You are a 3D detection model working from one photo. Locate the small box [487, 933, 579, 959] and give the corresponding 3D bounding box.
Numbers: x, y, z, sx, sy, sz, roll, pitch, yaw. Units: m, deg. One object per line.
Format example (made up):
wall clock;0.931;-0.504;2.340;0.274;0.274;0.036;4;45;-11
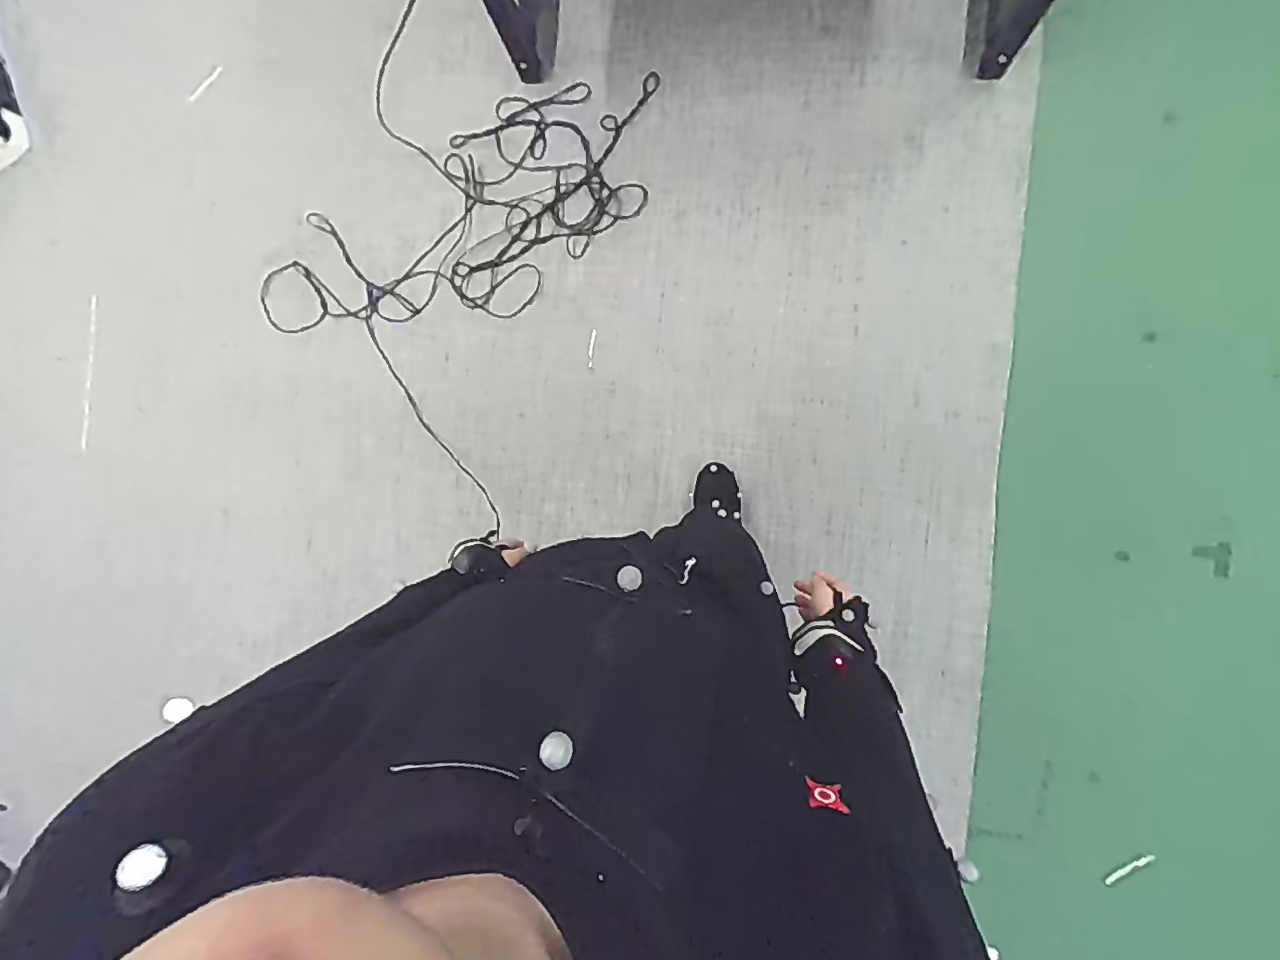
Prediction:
small box;-0.227;0.995;0.996;0.179;0.176;0.168;13;93;7
